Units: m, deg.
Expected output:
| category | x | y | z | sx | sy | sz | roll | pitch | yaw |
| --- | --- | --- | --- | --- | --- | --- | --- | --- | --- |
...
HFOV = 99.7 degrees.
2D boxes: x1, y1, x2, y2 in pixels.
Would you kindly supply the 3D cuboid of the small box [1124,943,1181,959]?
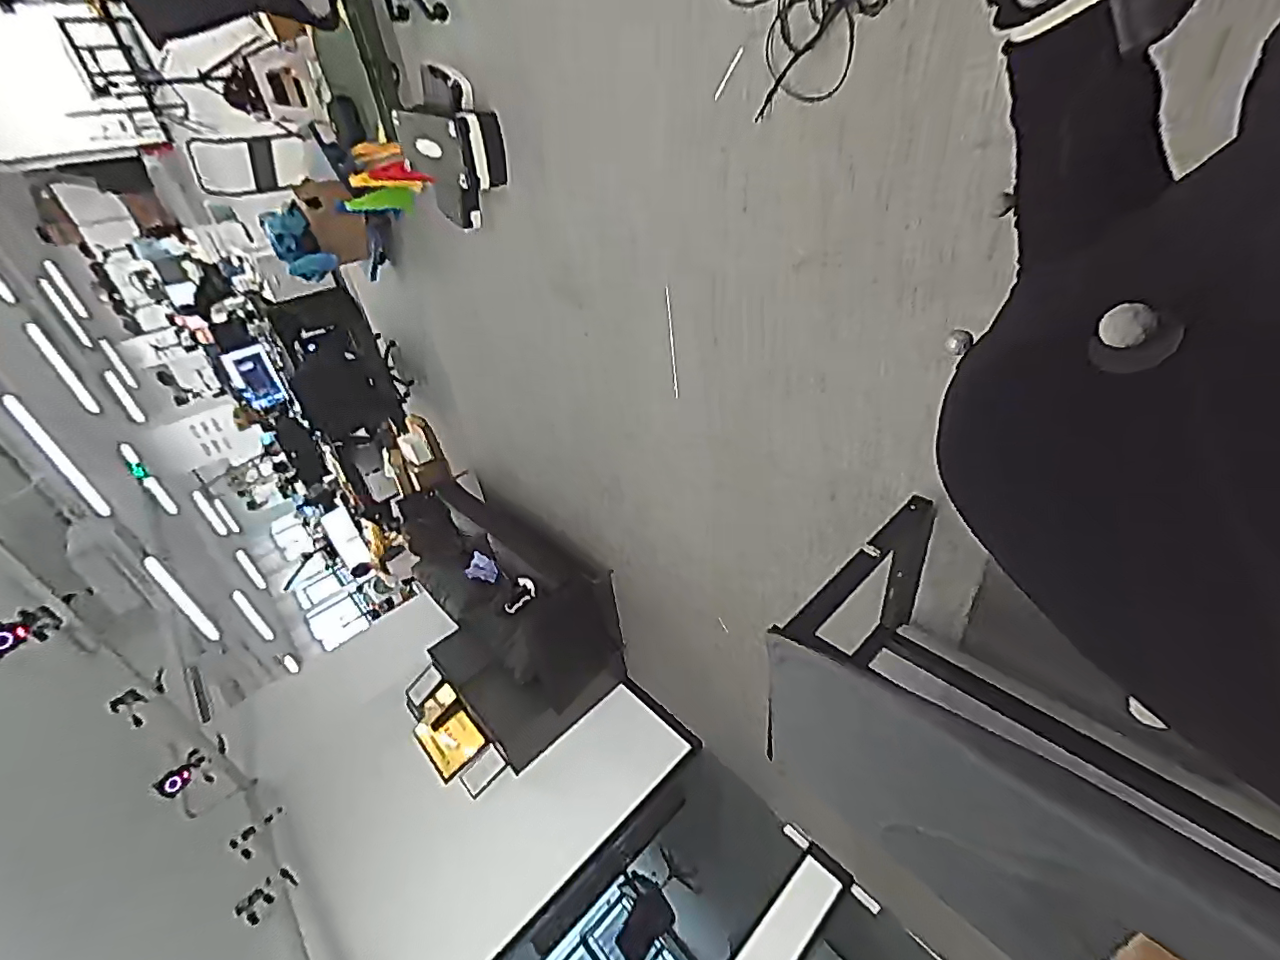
| category | x | y | z | sx | sy | sz | roll | pitch | yaw |
| --- | --- | --- | --- | --- | --- | --- | --- | --- | --- |
| small box | 0.869 | 0.911 | 0.868 | 0.168 | 0.176 | 0.179 | 27 | 137 | 40 |
